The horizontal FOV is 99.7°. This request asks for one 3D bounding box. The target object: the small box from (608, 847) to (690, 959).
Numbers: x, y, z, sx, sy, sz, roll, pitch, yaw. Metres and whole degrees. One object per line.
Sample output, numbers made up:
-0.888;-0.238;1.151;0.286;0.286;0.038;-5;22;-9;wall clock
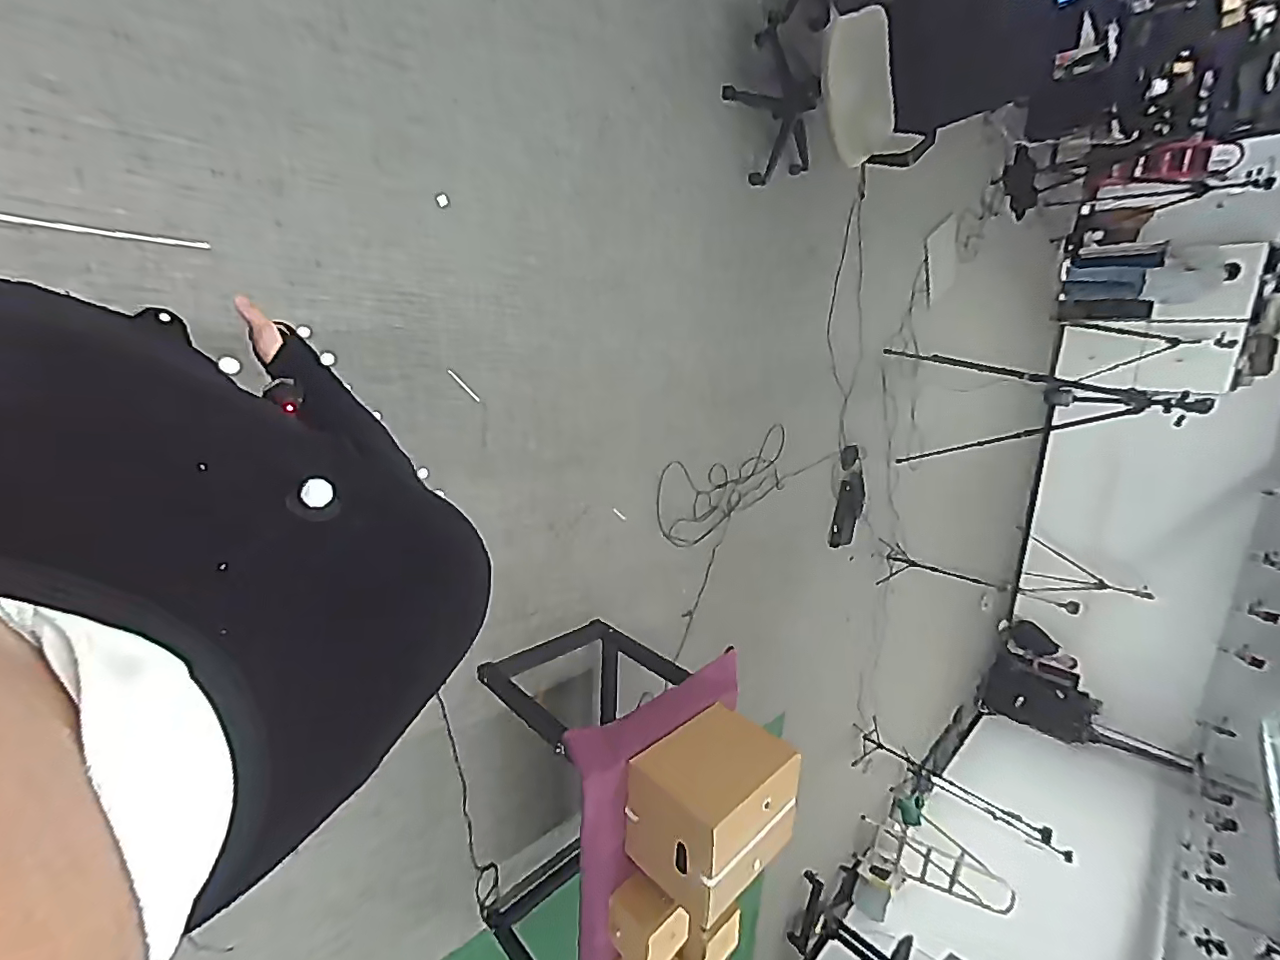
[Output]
0.026;1.250;1.606;0.179;0.176;0.168;-13;109;-44;small box
